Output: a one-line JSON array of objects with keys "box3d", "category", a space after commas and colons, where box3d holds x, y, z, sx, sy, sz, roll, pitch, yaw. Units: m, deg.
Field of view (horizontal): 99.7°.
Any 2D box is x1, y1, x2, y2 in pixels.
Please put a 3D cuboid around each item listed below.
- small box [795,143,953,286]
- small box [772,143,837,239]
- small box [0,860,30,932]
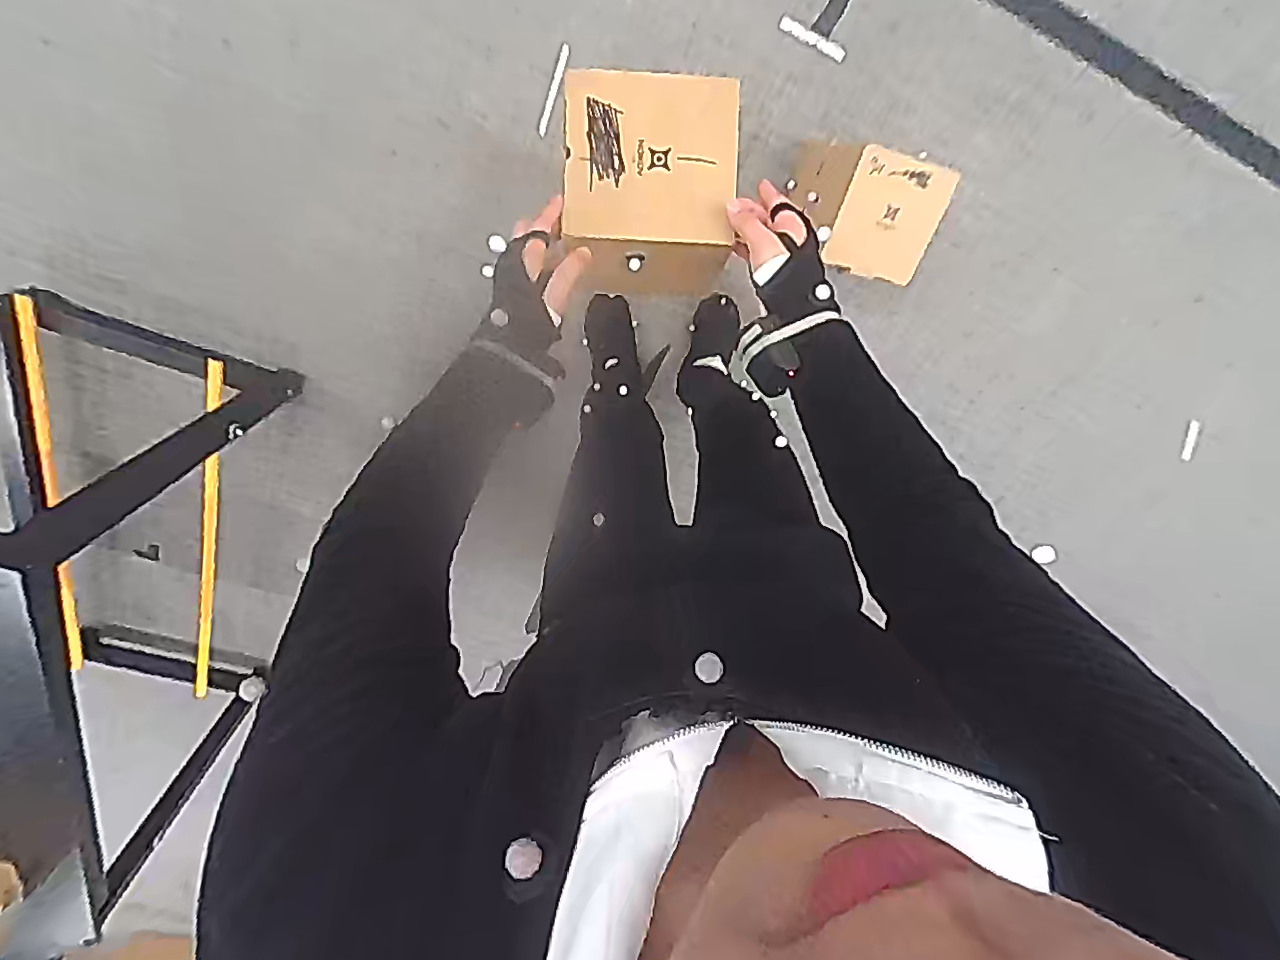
[{"box3d": [0.387, -0.462, 0.938, 0.168, 0.176, 0.179, 13, 120, -9], "category": "small box"}, {"box3d": [0.389, -0.552, 1.074, 0.179, 0.176, 0.168, 14, 119, -10], "category": "small box"}, {"box3d": [-1.318, 0.823, 1.001, 0.179, 0.176, 0.168, 17, 120, -11], "category": "small box"}]
